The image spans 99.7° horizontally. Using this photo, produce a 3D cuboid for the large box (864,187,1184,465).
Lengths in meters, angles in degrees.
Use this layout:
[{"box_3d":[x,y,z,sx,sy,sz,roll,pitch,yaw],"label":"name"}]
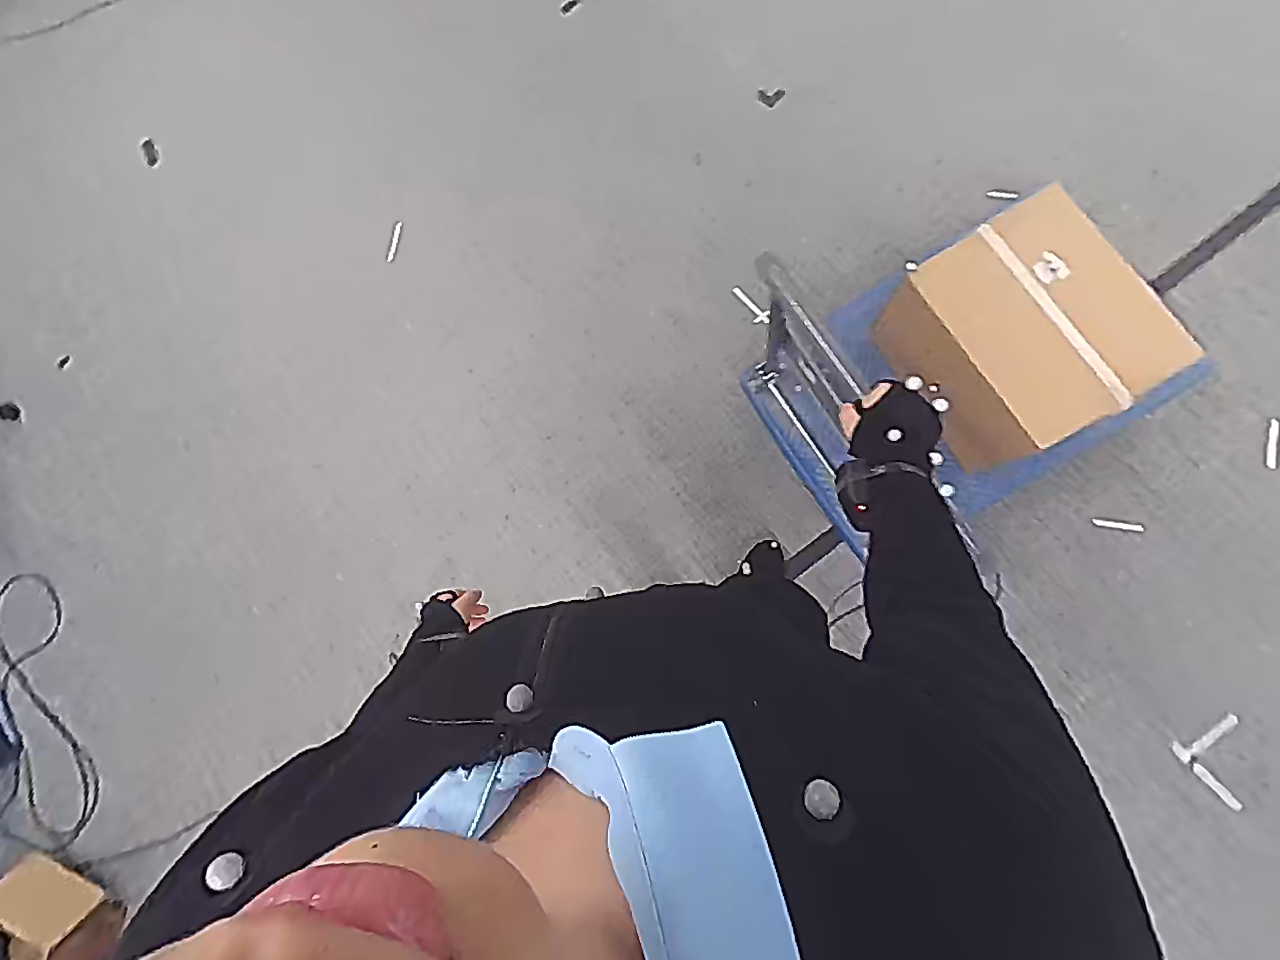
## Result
[{"box_3d":[0.749,-0.294,1.138,0.320,0.320,0.408,-32,78,4],"label":"large box"}]
